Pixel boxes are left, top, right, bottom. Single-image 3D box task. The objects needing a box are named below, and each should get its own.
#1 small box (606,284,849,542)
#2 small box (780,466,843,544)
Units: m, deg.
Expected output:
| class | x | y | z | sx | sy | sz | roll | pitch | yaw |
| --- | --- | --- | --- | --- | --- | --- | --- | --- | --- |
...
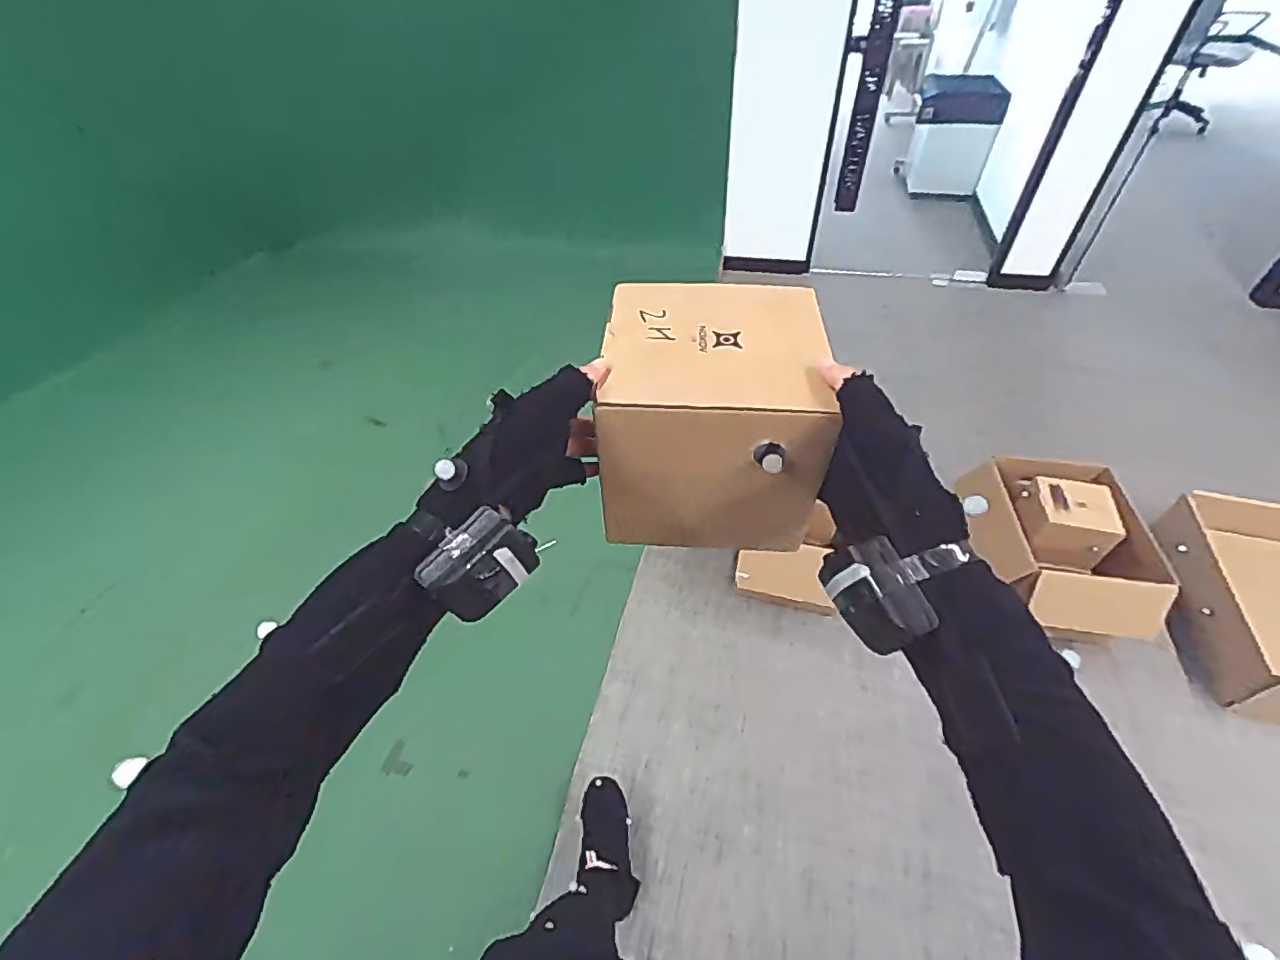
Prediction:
| class | x | y | z | sx | sy | sz | roll | pitch | yaw |
| --- | --- | --- | --- | --- | --- | --- | --- | --- | --- |
| small box | 0.067 | -0.057 | 0.495 | 0.179 | 0.176 | 0.168 | 3 | 48 | 3 |
| small box | 0.476 | 0.065 | 1.578 | 0.179 | 0.176 | 0.168 | 13 | 48 | 14 |
